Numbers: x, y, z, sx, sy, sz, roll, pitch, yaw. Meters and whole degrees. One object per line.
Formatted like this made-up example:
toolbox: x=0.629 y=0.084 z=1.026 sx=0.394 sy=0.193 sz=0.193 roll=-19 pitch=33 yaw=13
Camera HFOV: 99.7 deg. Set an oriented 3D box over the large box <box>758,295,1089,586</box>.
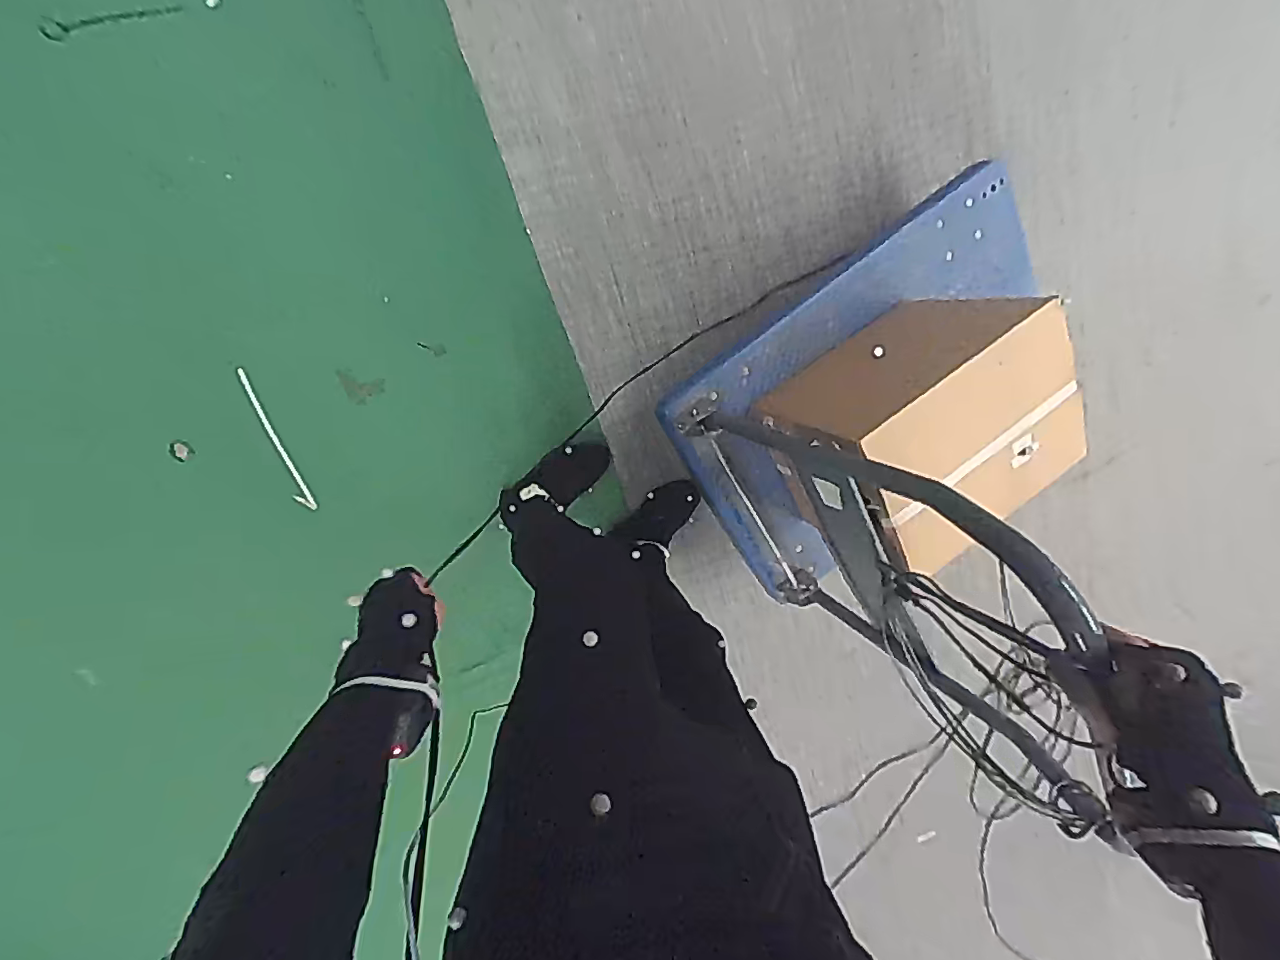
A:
large box: x=0.502 y=-0.091 z=0.991 sx=0.408 sy=0.320 sz=0.320 roll=-35 pitch=116 yaw=-7
